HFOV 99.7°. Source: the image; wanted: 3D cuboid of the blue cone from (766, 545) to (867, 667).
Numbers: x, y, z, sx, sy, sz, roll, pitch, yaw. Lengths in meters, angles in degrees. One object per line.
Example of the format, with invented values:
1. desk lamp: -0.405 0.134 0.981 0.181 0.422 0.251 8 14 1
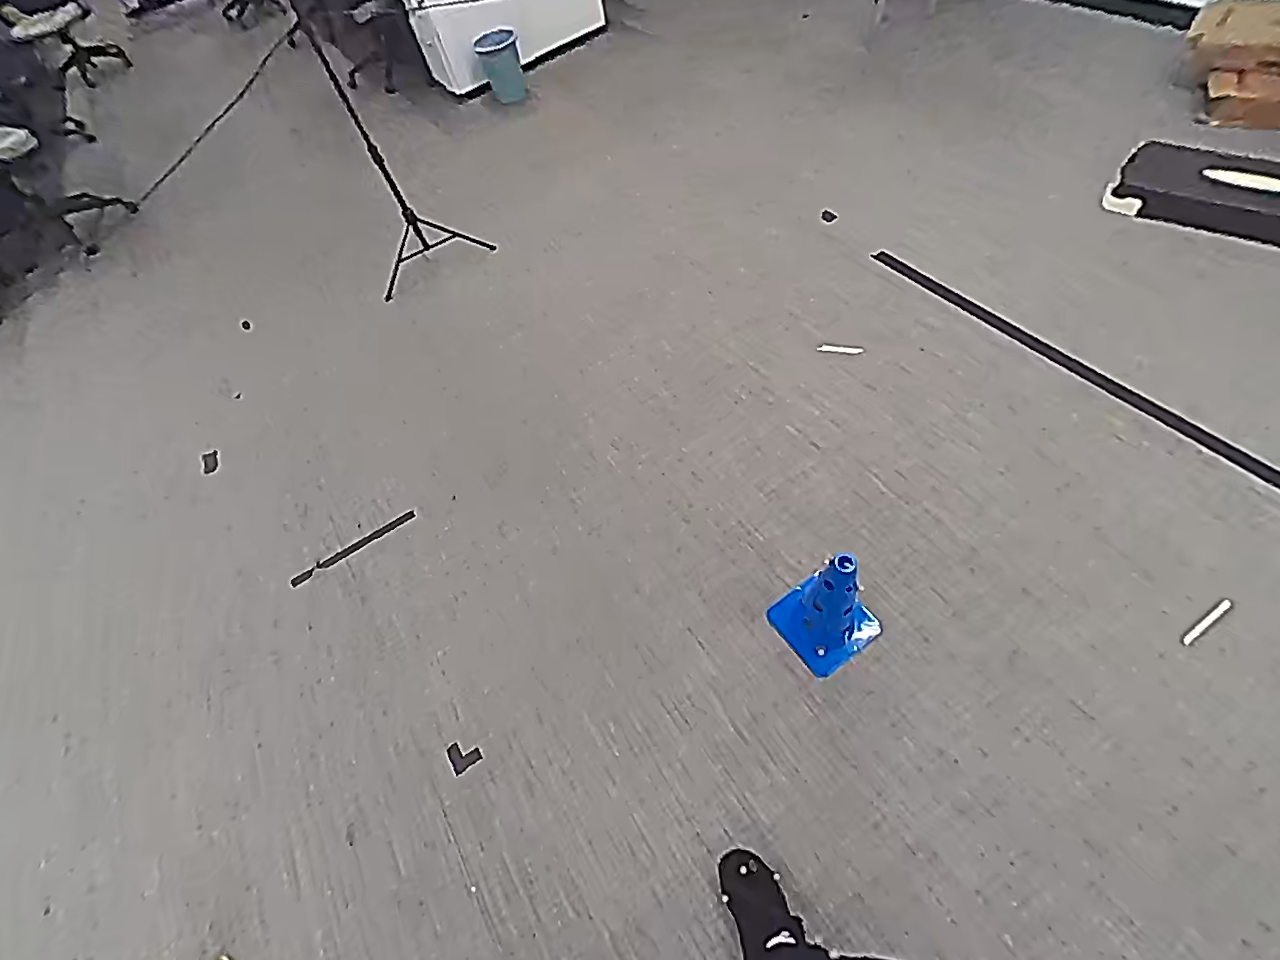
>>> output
1. blue cone: 0.392 0.242 1.156 0.193 0.380 0.192 -33 57 -10
